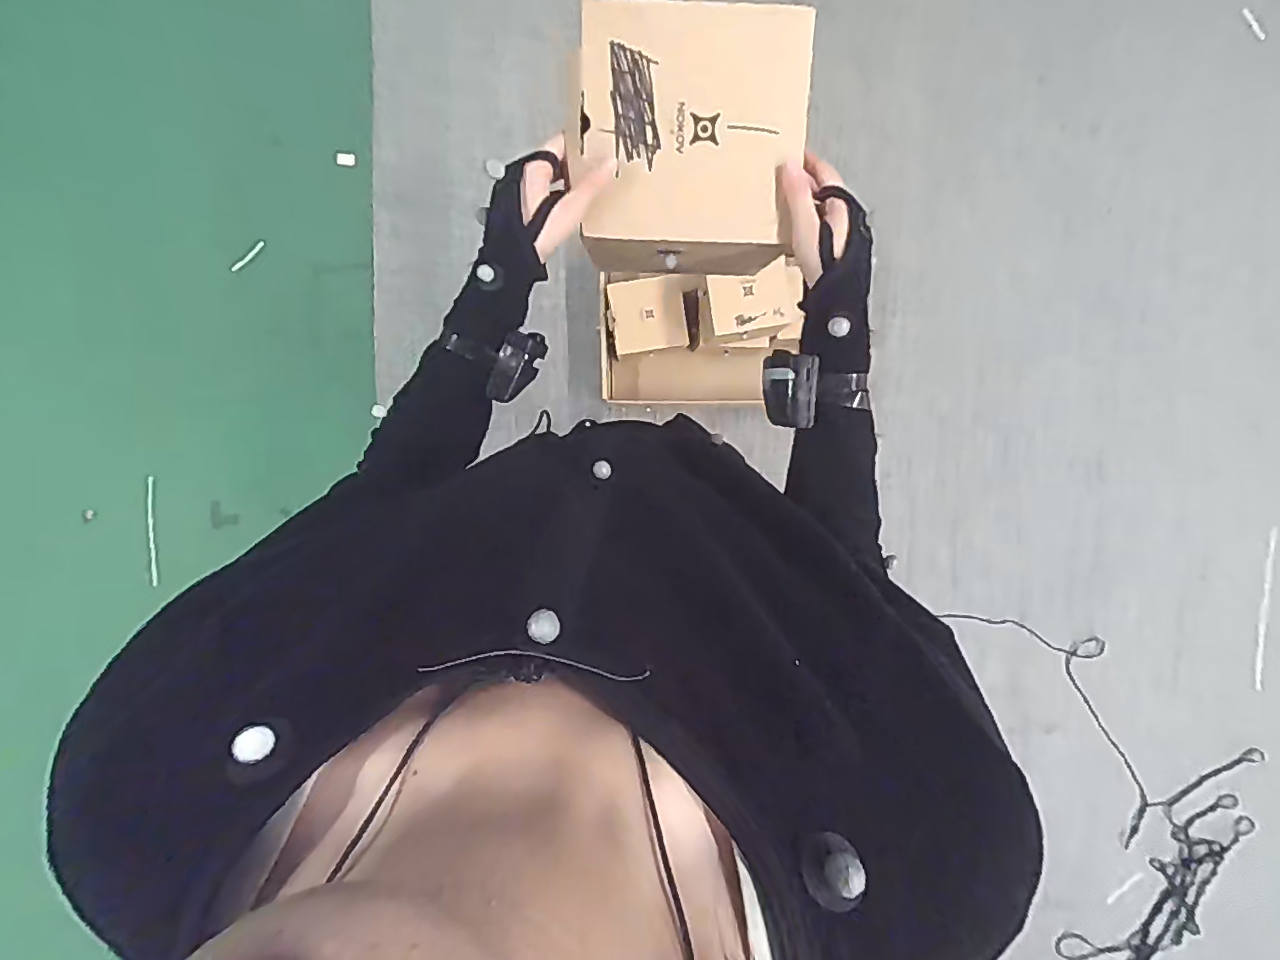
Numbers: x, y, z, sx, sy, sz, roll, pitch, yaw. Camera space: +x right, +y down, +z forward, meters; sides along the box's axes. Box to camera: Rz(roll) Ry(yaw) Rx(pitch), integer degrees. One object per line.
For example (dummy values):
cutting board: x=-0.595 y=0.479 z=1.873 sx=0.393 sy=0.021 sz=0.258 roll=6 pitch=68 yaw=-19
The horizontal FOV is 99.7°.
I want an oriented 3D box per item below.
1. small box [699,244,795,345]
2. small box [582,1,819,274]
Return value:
small box: x=0.225 y=-0.404 z=1.179 sx=0.168 sy=0.176 sz=0.179 roll=-9 pitch=96 yaw=2
small box: x=0.044 y=-0.289 z=0.496 sx=0.179 sy=0.176 sz=0.168 roll=2 pitch=103 yaw=-1
